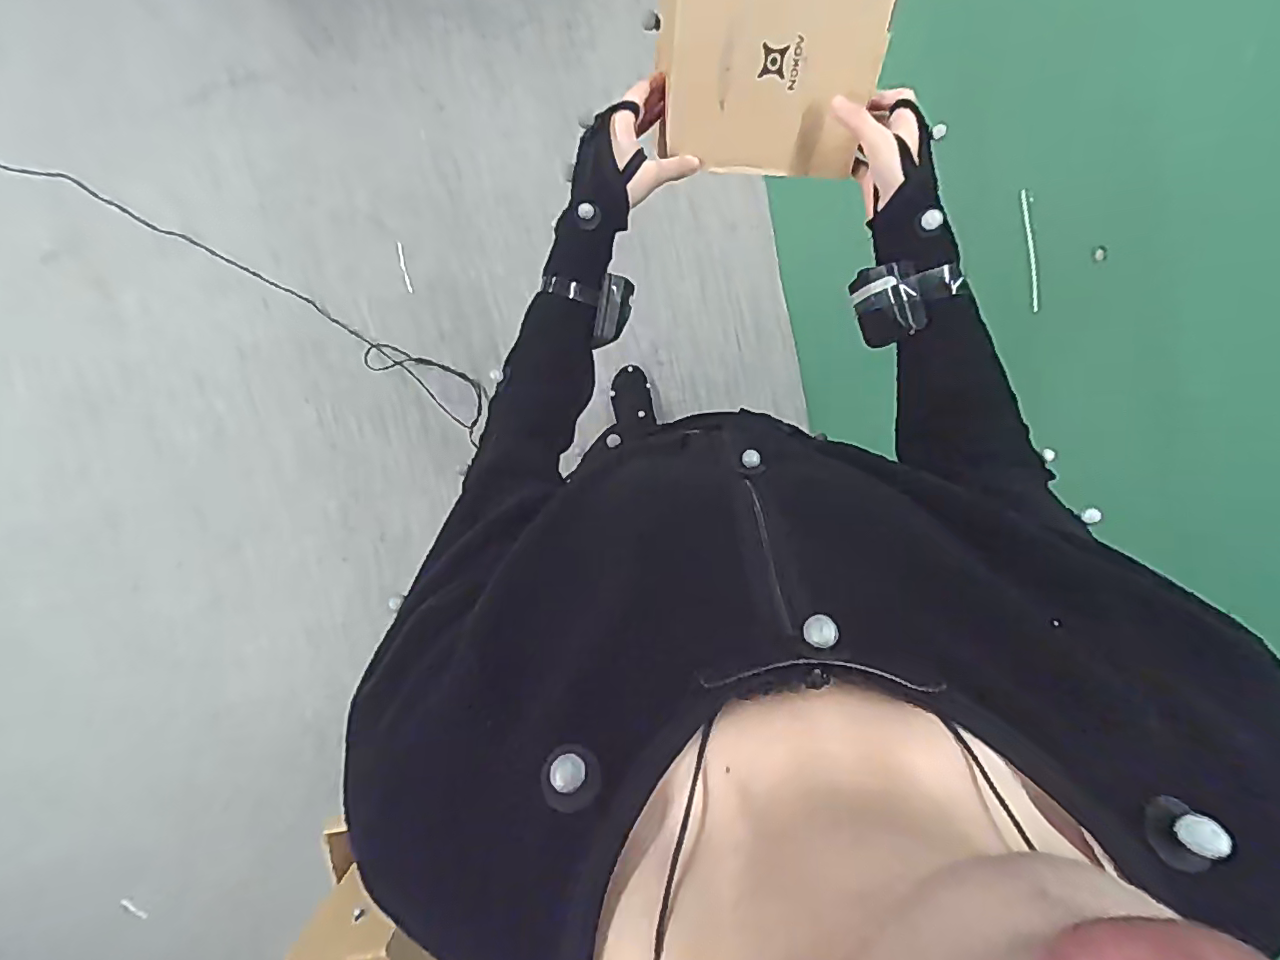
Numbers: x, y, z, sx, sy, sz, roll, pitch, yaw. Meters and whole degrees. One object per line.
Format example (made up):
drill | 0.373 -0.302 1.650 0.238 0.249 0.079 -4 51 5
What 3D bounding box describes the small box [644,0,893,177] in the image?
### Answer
small box | 0.101 -0.391 0.494 0.179 0.176 0.168 0 130 -5
